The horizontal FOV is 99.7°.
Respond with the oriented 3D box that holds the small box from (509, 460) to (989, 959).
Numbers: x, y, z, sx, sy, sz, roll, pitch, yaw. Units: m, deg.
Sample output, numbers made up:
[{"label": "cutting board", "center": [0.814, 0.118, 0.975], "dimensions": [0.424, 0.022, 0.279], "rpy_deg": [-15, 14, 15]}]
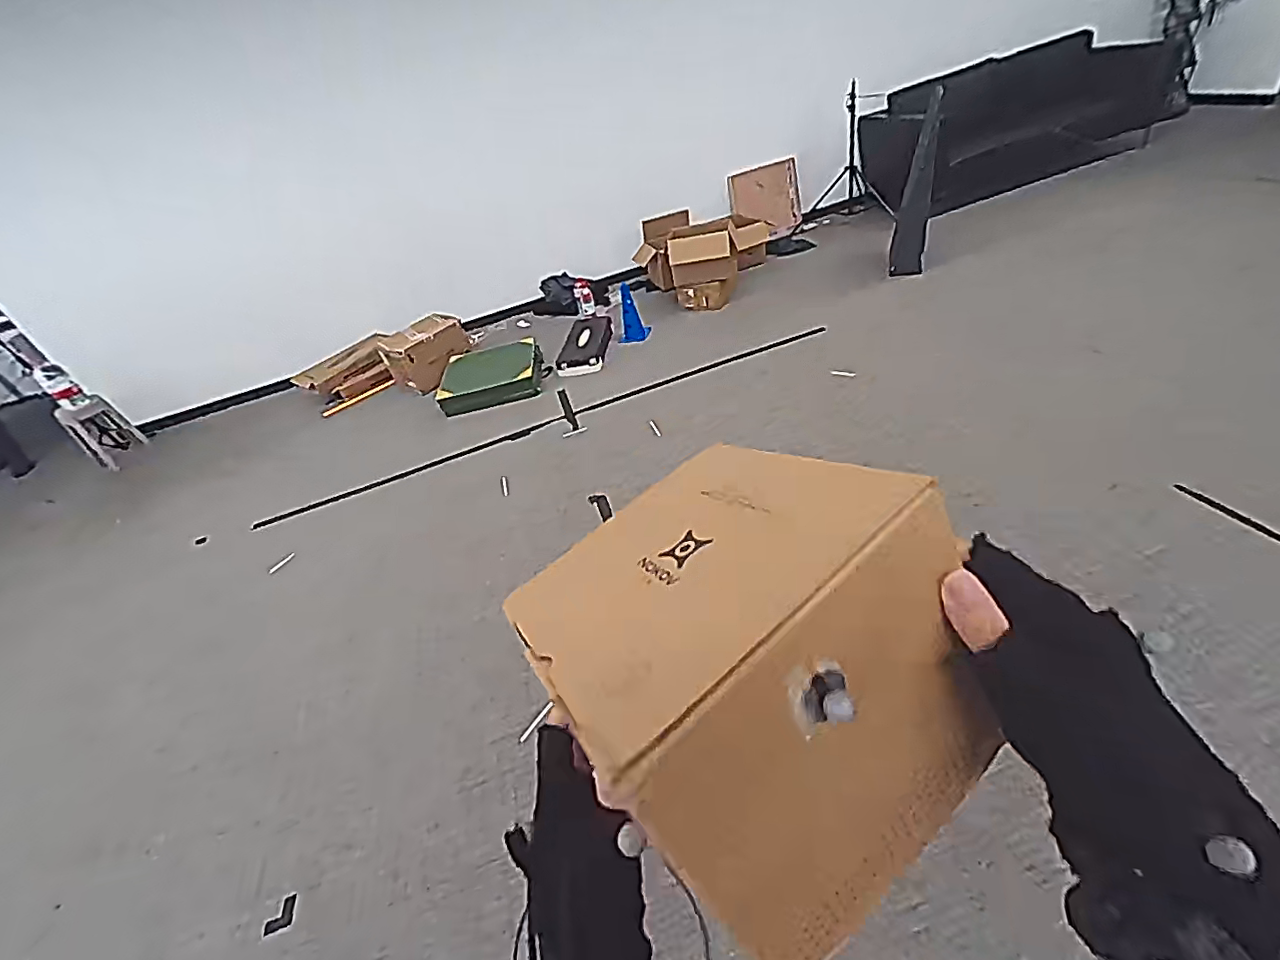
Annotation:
[{"label": "small box", "center": [0.059, 0.110, 0.305], "dimensions": [0.179, 0.176, 0.168], "rpy_deg": [-36, 22, -19]}]
